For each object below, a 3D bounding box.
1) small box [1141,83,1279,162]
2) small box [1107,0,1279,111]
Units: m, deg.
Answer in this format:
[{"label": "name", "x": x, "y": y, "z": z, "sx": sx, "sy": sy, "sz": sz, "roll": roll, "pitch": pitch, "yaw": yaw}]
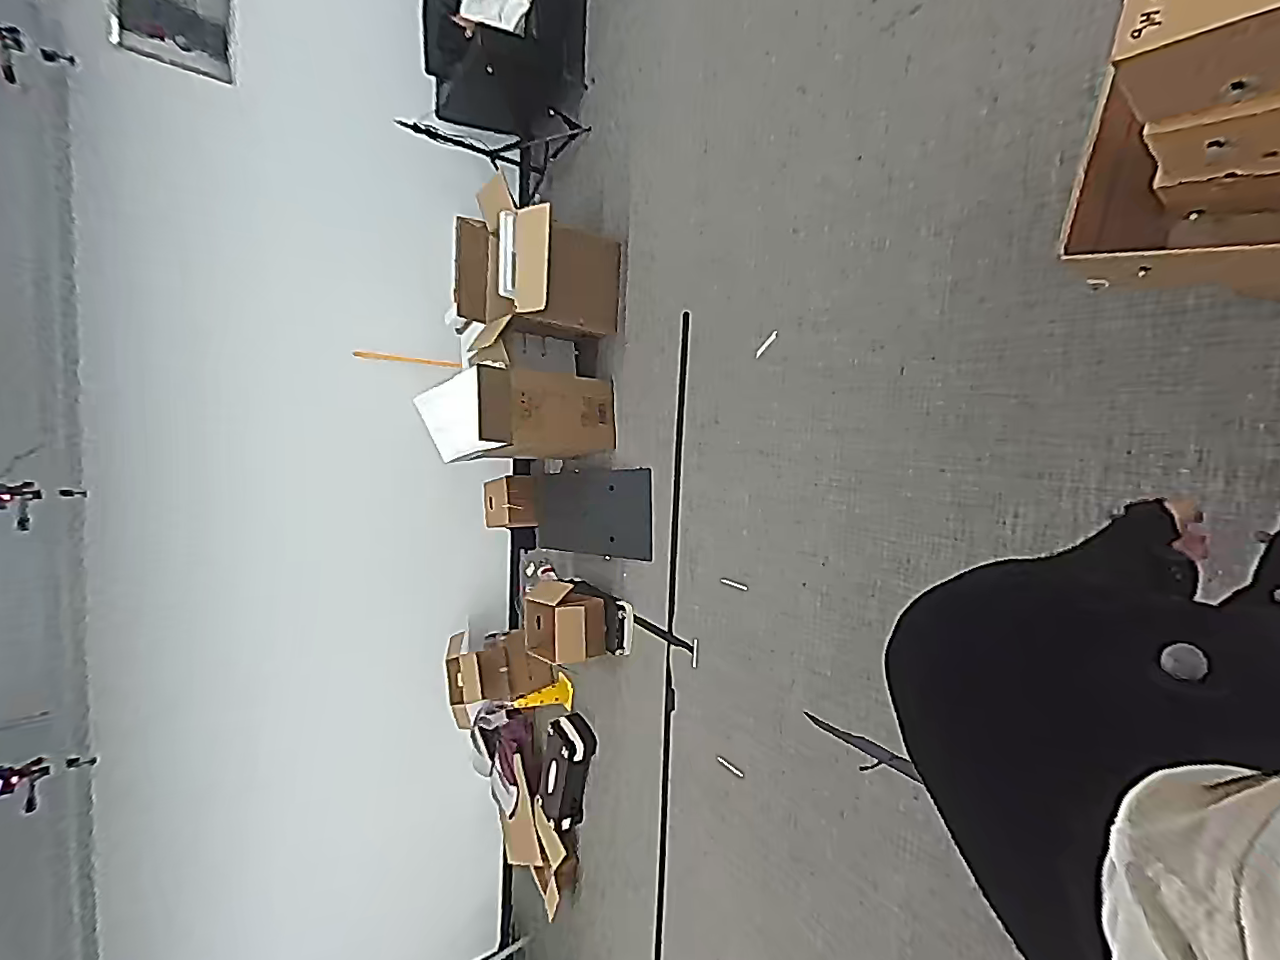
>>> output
[{"label": "small box", "x": 0.762, "y": -0.514, "z": 0.659, "sx": 0.168, "sy": 0.176, "sz": 0.179, "roll": 22, "pitch": 107, "yaw": 50}, {"label": "small box", "x": 0.634, "y": -0.523, "z": 0.558, "sx": 0.179, "sy": 0.176, "sz": 0.168, "roll": 20, "pitch": 105, "yaw": 50}]
